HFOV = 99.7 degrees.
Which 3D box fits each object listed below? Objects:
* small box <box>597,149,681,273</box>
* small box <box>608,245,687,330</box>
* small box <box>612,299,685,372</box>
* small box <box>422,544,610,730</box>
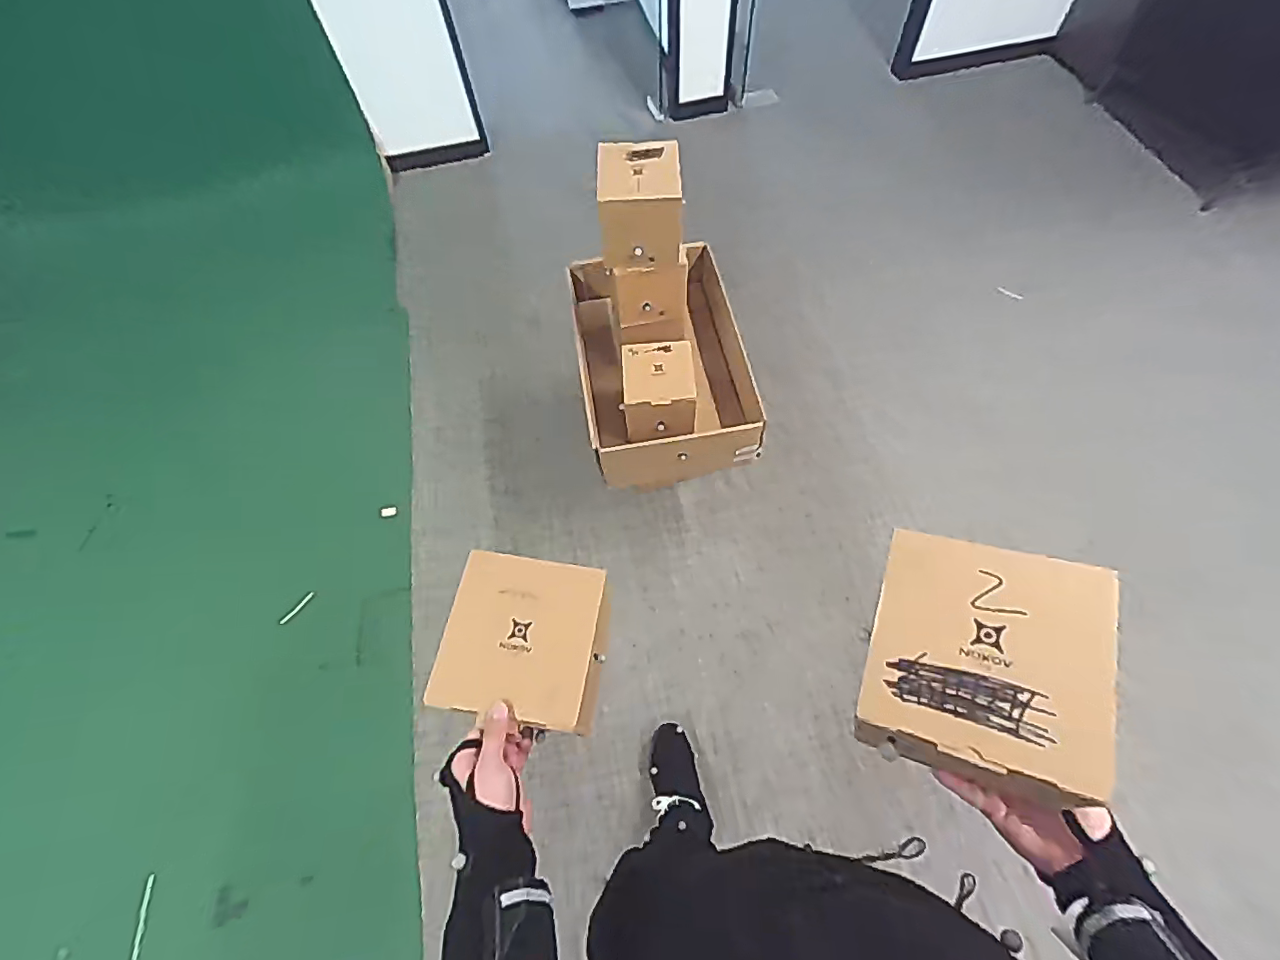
[{"bbox_3d":[-0.001,-0.566,1.146,0.168,0.176,0.179,-2,64,2],"label":"small box"},{"bbox_3d":[0.012,-0.487,1.290,0.168,0.176,0.179,-11,63,-3],"label":"small box"},{"bbox_3d":[0.019,-0.415,1.435,0.168,0.176,0.179,-11,63,-2],"label":"small box"},{"bbox_3d":[-0.134,0.201,0.667,0.168,0.176,0.179,10,63,5],"label":"small box"}]
